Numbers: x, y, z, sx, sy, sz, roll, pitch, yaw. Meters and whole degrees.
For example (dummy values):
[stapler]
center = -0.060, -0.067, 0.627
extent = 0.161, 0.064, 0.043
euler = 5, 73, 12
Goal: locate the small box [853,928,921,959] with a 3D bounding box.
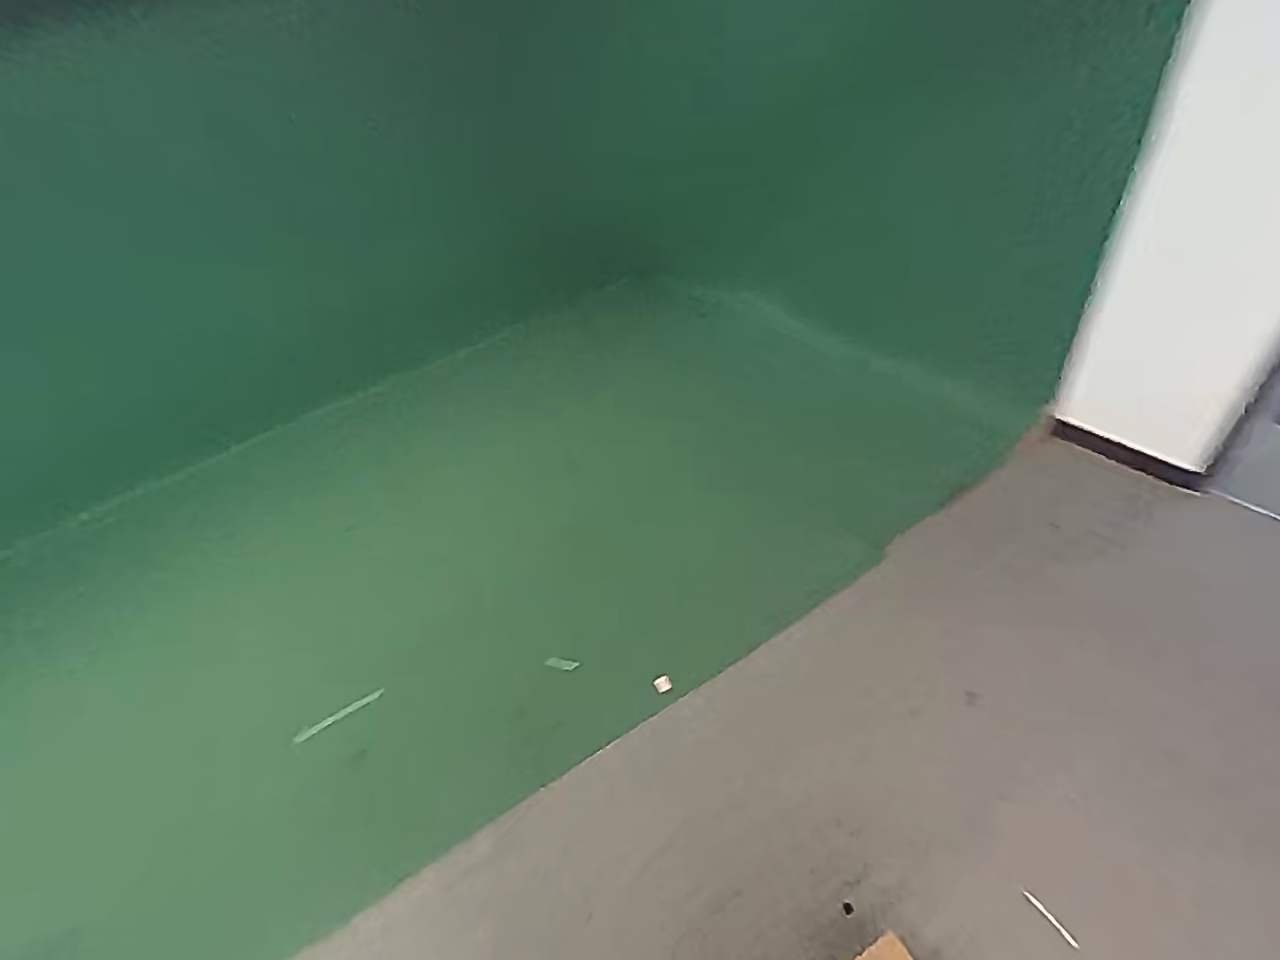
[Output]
[small box]
center = 0.490, 1.030, 1.057
extent = 0.179, 0.176, 0.168
euler = -27, 42, -11
